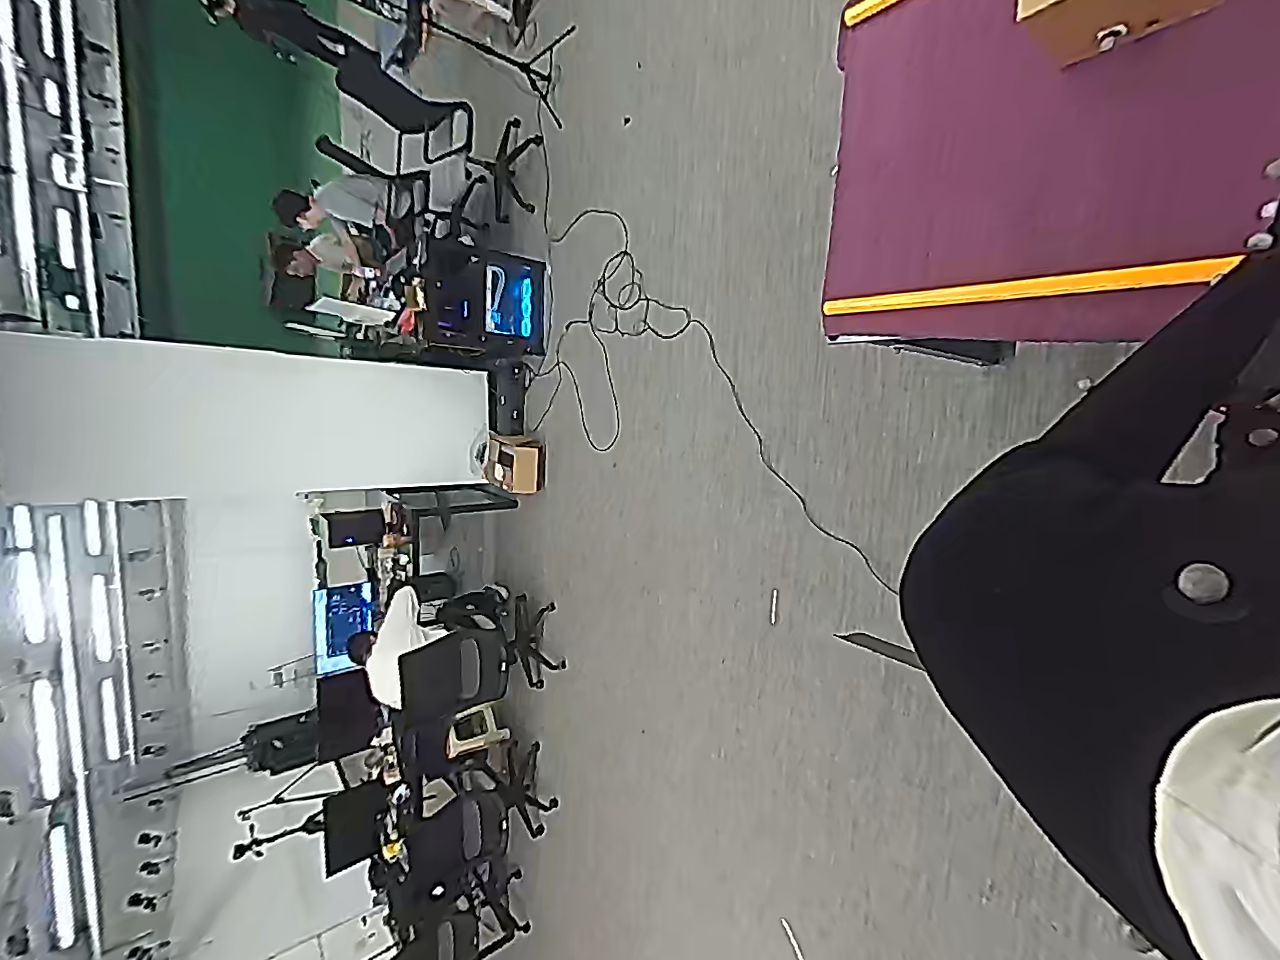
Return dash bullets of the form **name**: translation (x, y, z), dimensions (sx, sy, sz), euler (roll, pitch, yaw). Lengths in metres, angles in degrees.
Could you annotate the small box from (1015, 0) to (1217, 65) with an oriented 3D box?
- **small box**: translation (0.573, -0.648, 0.637), dimensions (0.168, 0.176, 0.179), euler (9, 101, 52)
